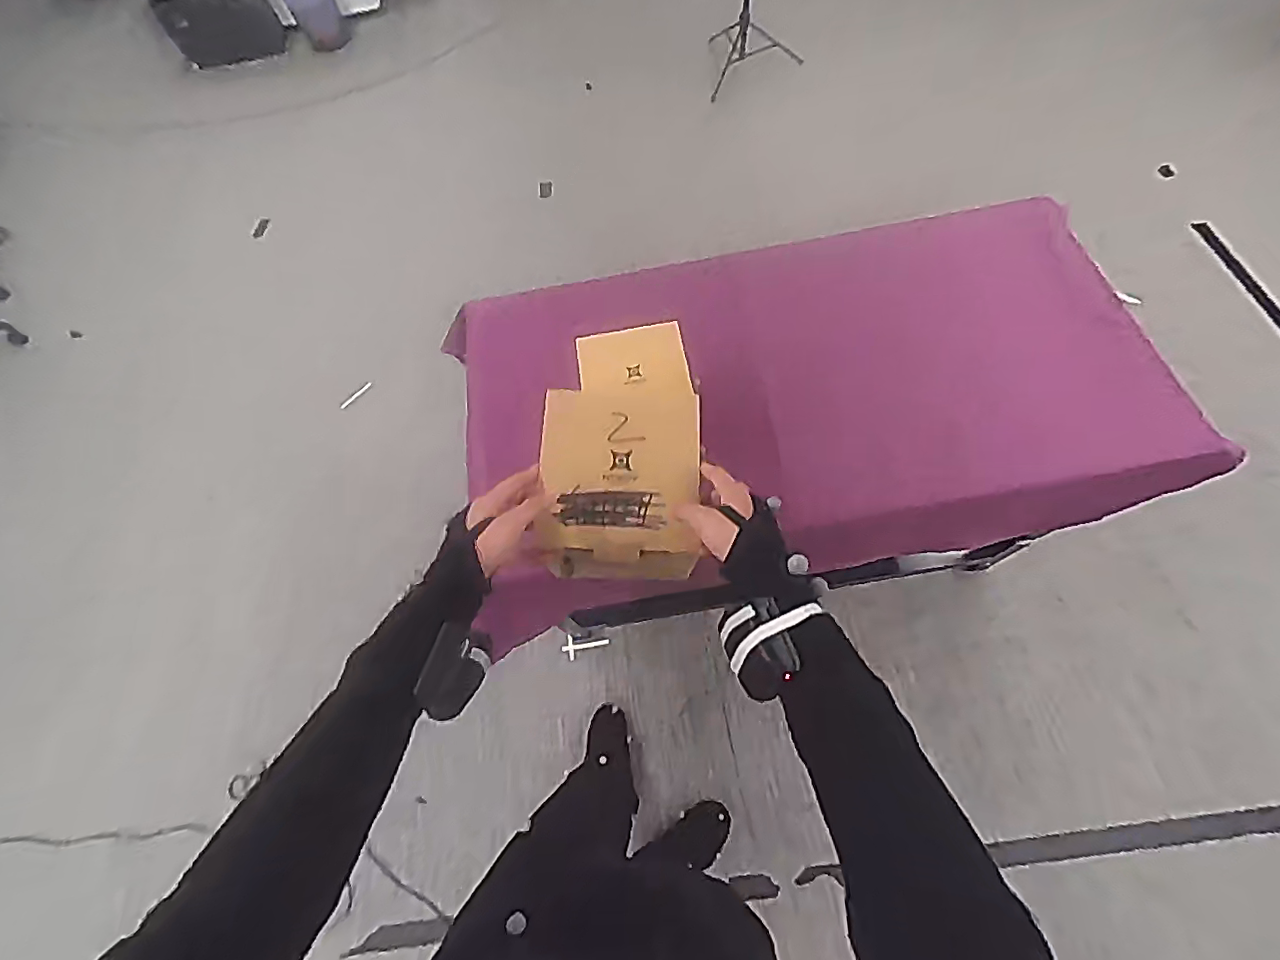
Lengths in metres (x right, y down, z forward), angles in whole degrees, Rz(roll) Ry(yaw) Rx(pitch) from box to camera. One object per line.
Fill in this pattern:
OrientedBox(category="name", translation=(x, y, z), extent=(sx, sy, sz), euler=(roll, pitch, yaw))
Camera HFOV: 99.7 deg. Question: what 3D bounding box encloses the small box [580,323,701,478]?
OrientedBox(category="small box", translation=(0.001, -0.125, 0.887), extent=(0.168, 0.176, 0.179), euler=(-9, 65, 1))
